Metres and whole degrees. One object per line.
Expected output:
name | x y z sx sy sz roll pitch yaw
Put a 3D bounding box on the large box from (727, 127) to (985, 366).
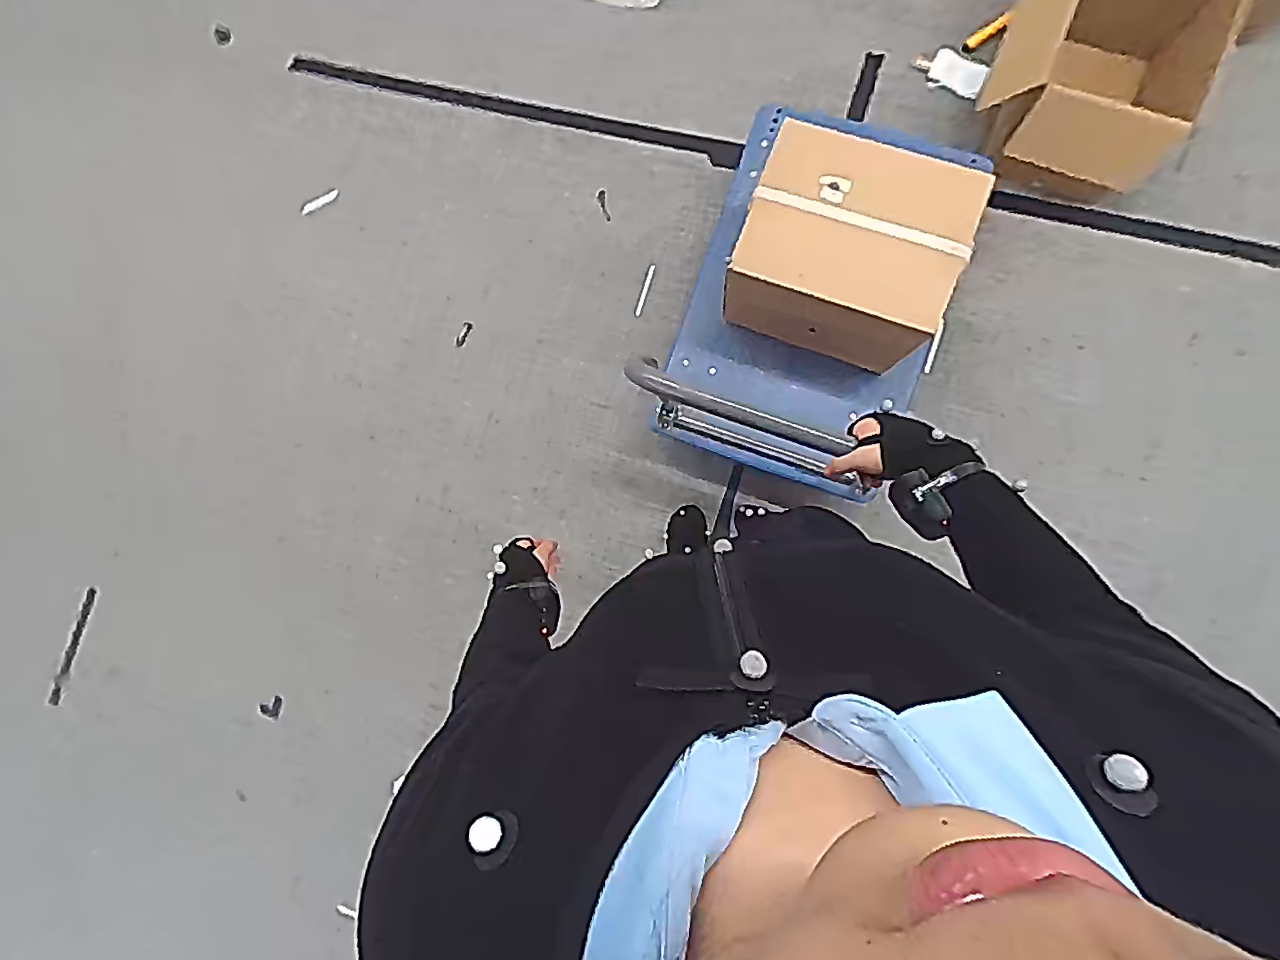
large box | 0.430 -0.480 1.176 0.408 0.320 0.320 21 89 9
